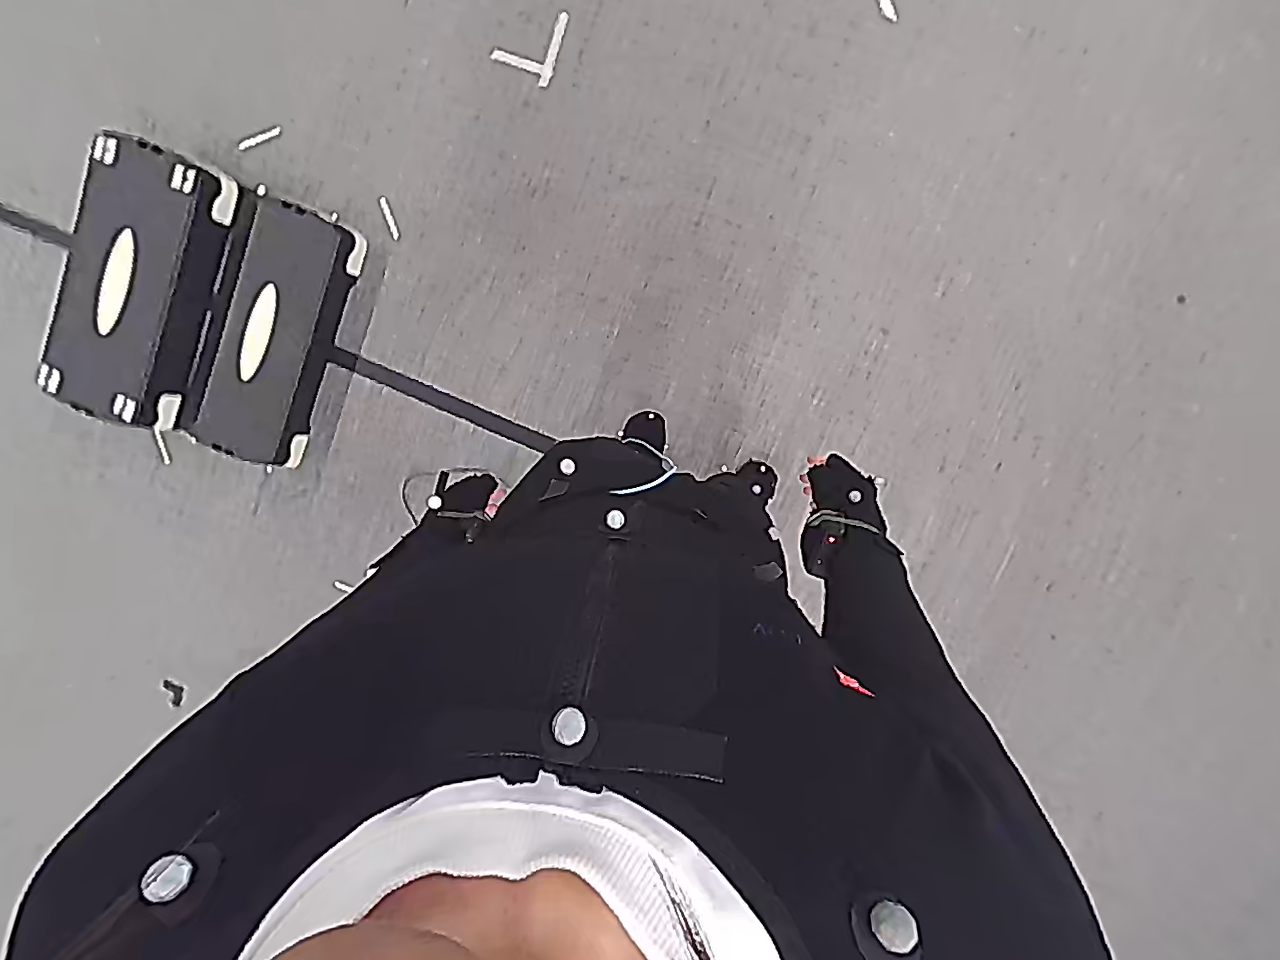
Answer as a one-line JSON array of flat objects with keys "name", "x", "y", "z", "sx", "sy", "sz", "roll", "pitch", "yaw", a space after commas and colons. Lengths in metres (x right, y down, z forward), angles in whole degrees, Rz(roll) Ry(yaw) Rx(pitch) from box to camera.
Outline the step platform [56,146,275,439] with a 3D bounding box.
[{"name": "step platform", "x": -1.207, "y": -0.455, "z": 1.382, "sx": 0.286, "sy": 0.204, "sz": 0.684, "roll": 21, "pitch": 96, "yaw": 1}]
